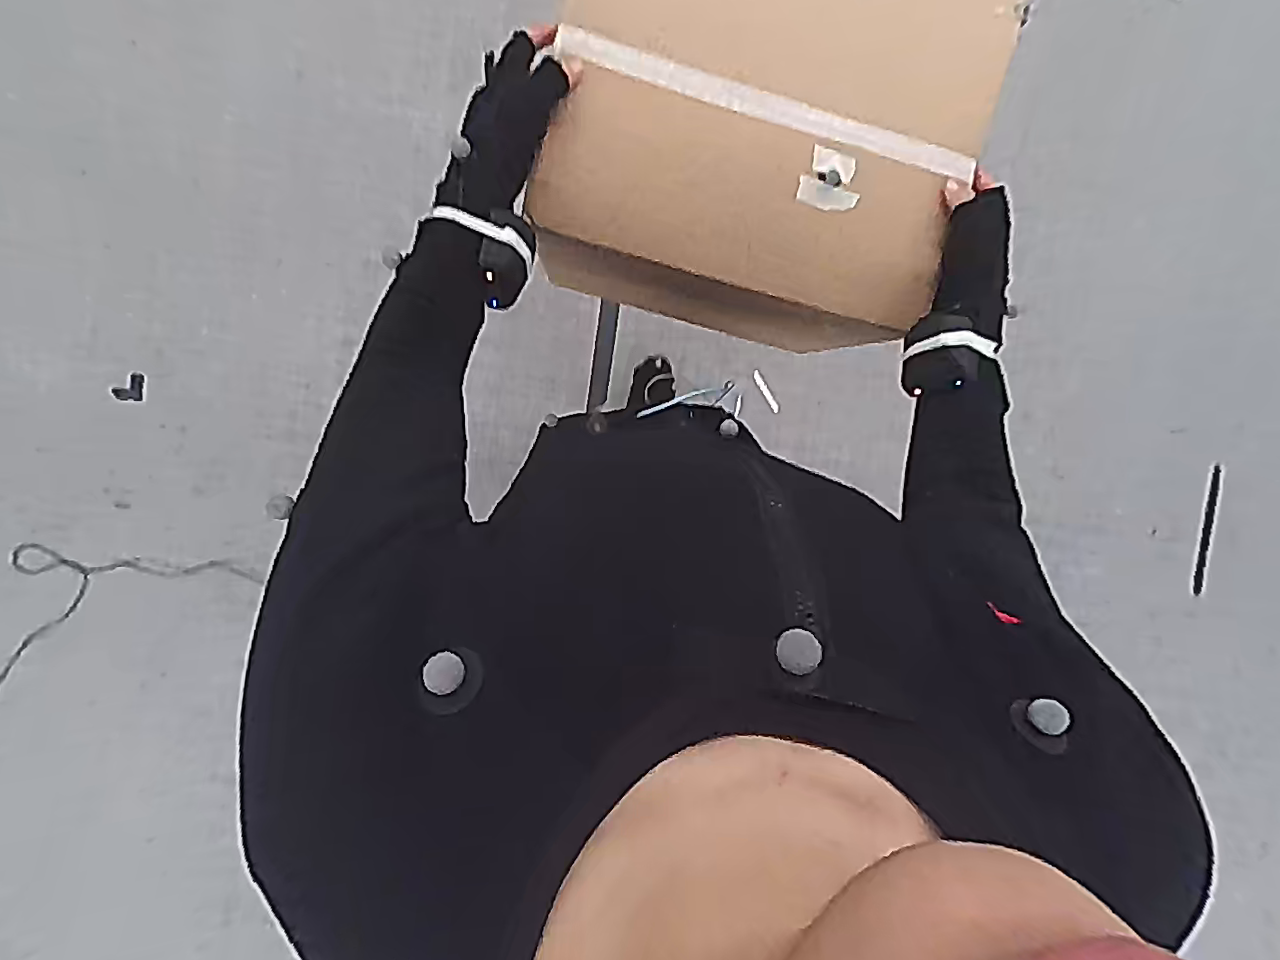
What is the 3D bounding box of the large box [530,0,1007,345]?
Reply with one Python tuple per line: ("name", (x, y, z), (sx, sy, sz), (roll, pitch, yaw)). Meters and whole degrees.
("large box", (0.105, -0.369, 0.651), (0.408, 0.320, 0.320), (13, 100, -8))
